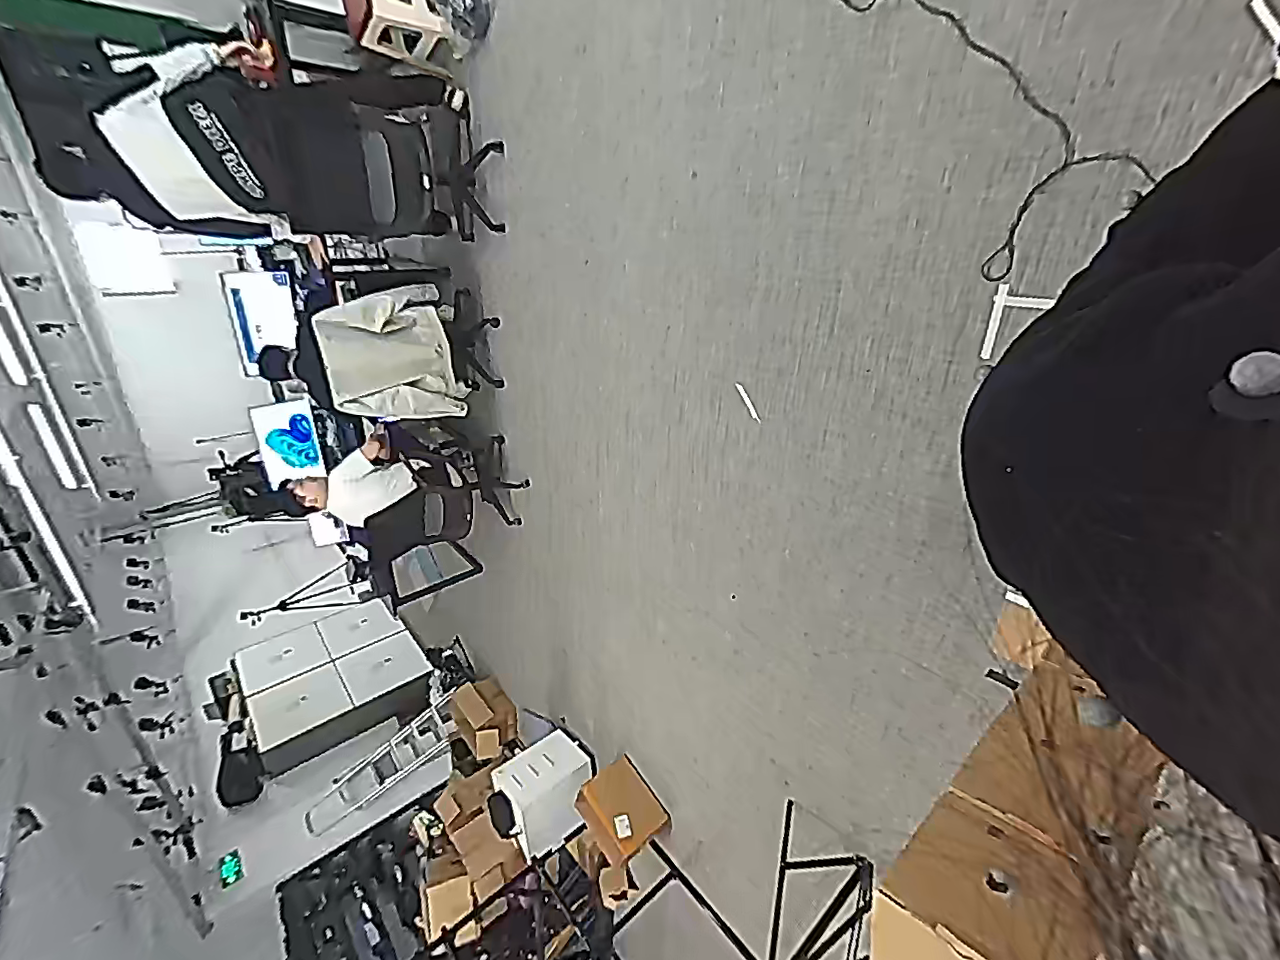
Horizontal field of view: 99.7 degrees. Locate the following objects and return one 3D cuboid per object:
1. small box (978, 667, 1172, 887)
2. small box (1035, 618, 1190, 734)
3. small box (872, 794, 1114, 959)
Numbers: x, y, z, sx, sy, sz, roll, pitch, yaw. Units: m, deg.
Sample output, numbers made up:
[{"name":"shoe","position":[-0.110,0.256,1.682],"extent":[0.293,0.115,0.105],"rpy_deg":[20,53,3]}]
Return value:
[{"name":"small box","position":[0.614,0.401,0.765],"extent":[0.168,0.176,0.179],"rpy_deg":[20,120,47]},{"name":"small box","position":[0.735,0.353,0.866],"extent":[0.168,0.176,0.179],"rpy_deg":[25,125,45]},{"name":"small box","position":[0.365,0.482,0.567],"extent":[0.168,0.176,0.179],"rpy_deg":[15,116,49]}]
